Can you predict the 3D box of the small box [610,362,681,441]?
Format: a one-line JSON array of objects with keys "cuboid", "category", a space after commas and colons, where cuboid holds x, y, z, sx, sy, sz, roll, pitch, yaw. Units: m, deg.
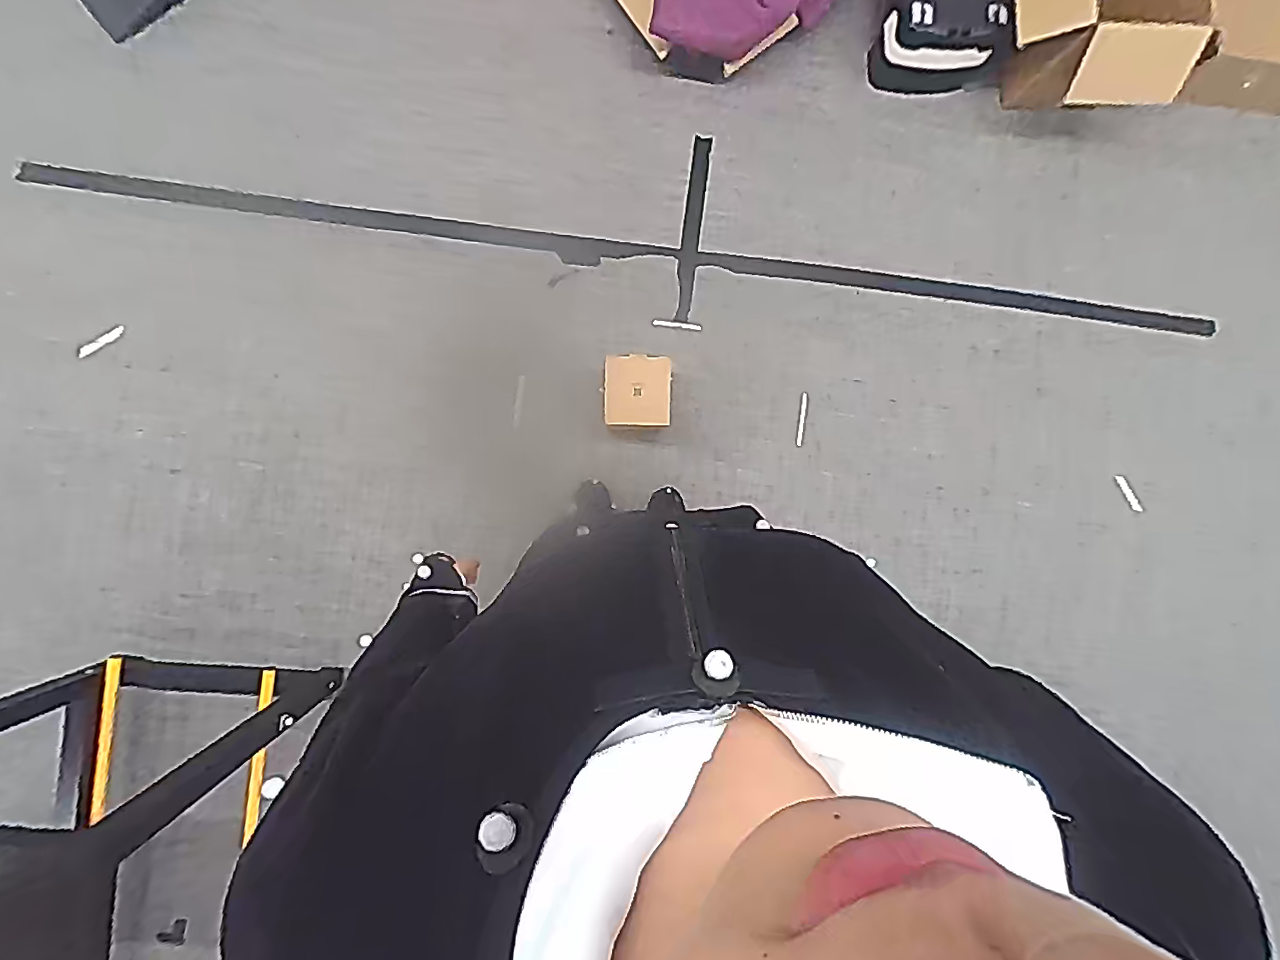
[{"cuboid": [0.008, -0.191, 1.345, 0.168, 0.176, 0.179, 0, 92, -3], "category": "small box"}]
